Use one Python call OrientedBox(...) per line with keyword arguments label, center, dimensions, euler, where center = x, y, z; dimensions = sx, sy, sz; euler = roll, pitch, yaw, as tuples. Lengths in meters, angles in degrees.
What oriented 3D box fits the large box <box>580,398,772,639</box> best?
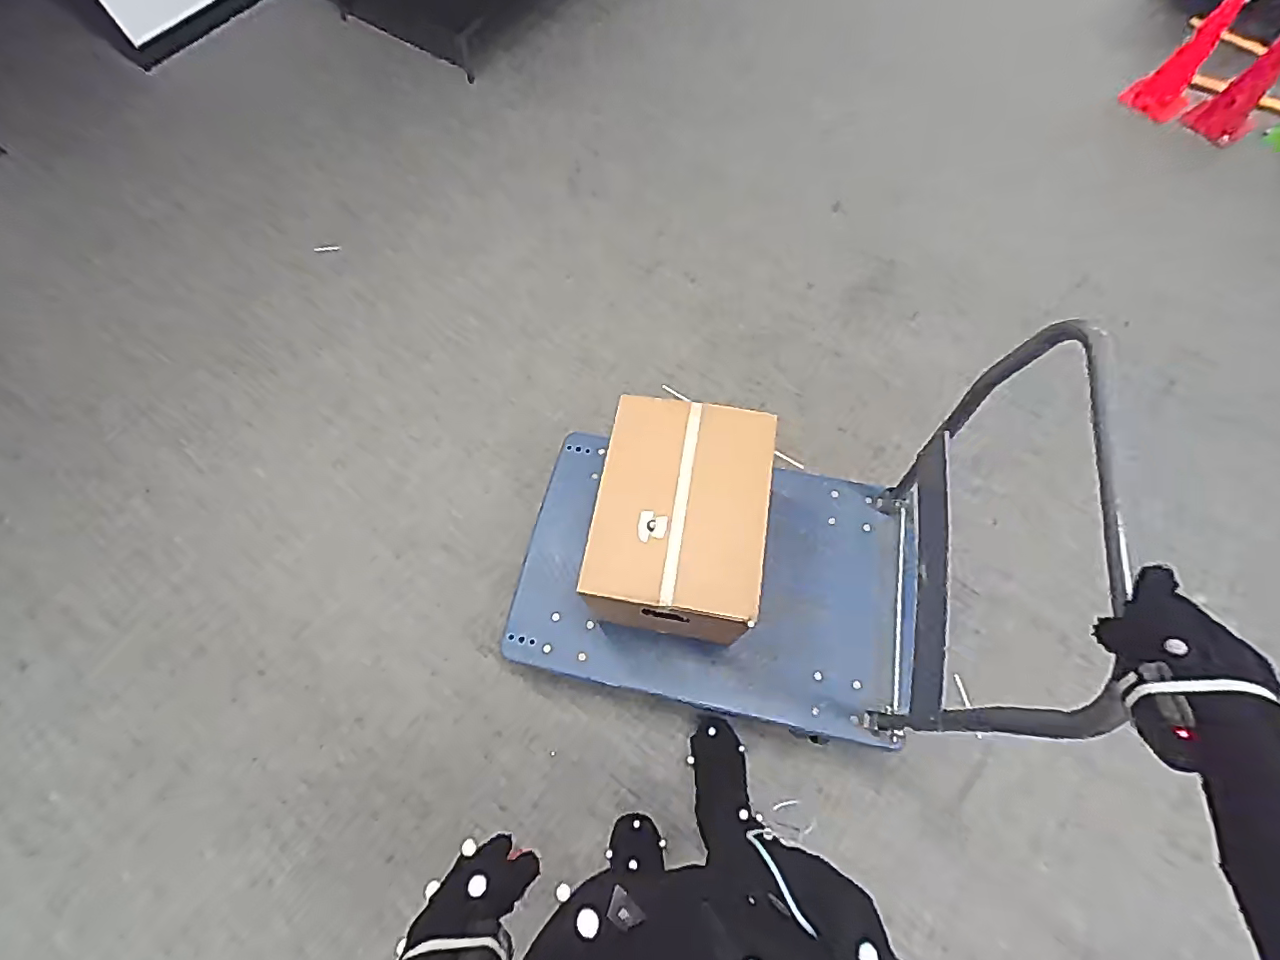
OrientedBox(label="large box", center=(0.081, 0.091, 1.132), dimensions=(0.320, 0.320, 0.408), euler=(8, 68, 7))
